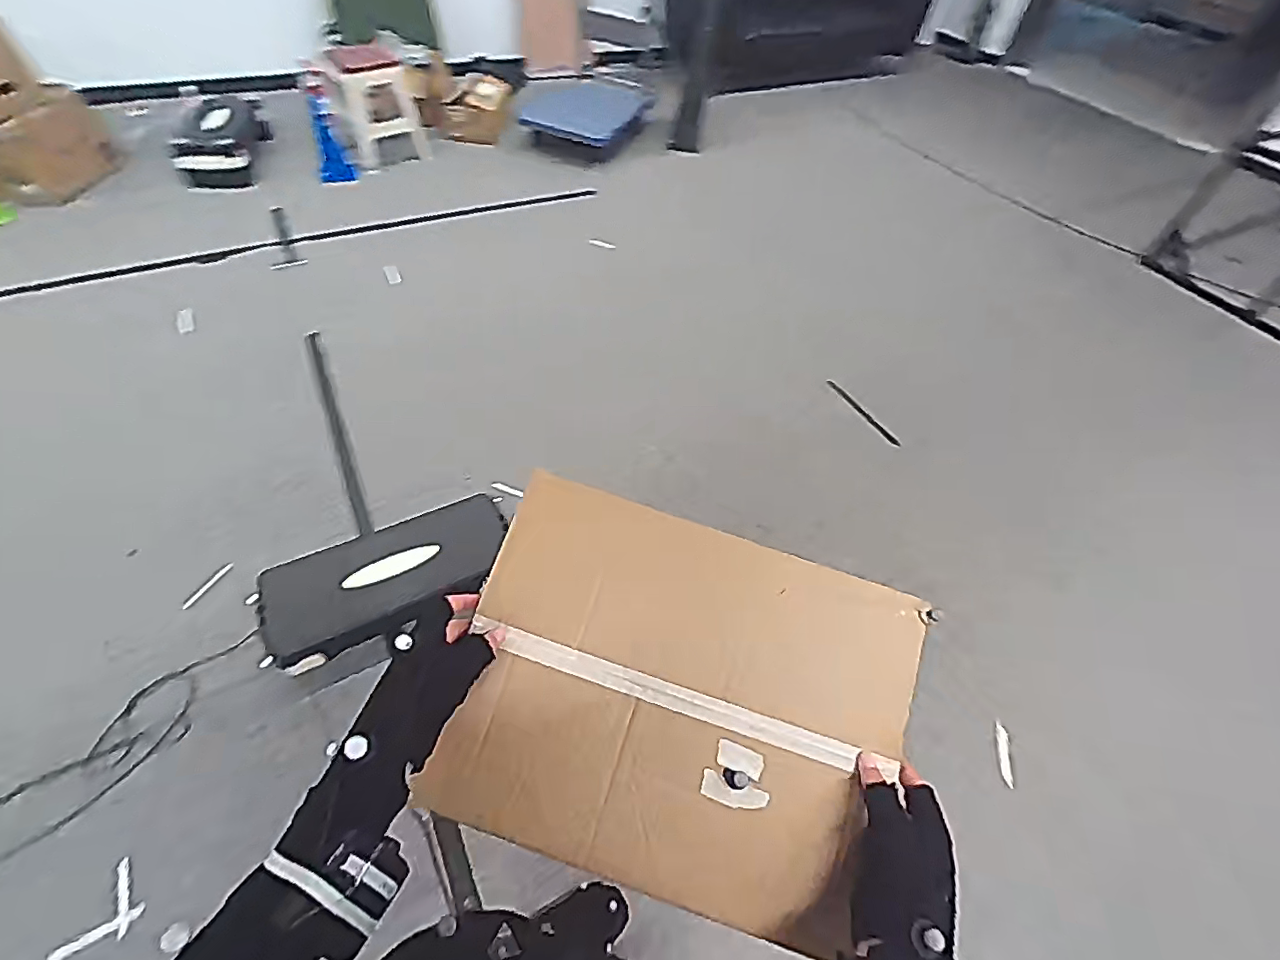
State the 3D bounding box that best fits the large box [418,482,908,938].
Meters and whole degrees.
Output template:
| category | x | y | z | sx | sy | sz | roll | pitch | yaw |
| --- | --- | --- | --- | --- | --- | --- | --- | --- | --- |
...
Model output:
| category | x | y | z | sx | sy | sz | roll | pitch | yaw |
| --- | --- | --- | --- | --- | --- | --- | --- | --- | --- |
| large box | 0.028 | 0.233 | 0.648 | 0.408 | 0.320 | 0.320 | 17 | 76 | 3 |
